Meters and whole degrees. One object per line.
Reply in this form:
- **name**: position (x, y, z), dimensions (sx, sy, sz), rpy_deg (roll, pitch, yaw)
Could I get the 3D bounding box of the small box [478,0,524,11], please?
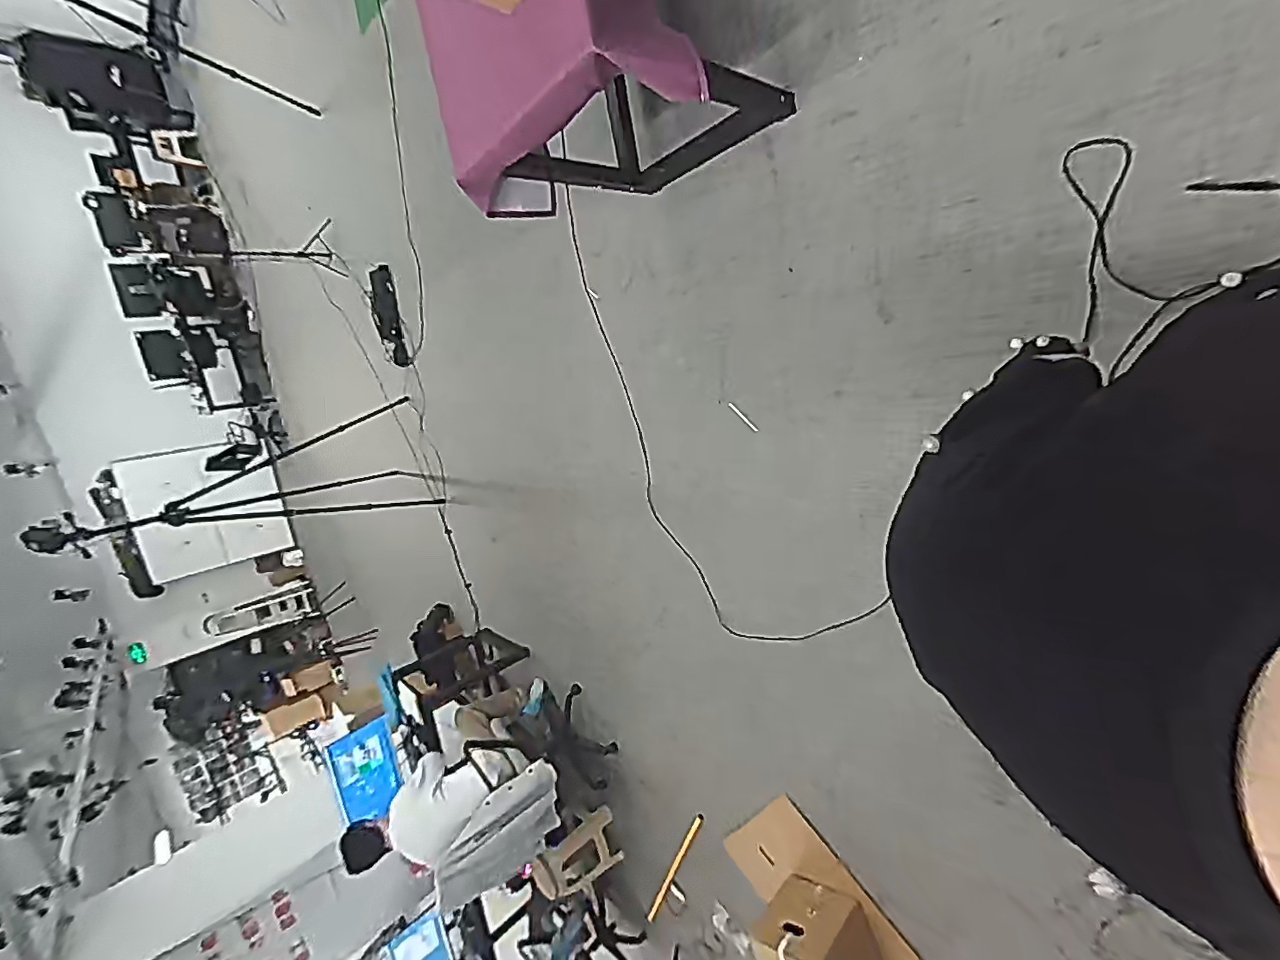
- **small box**: position (-0.275, -1.026, 0.996), dimensions (0.179, 0.176, 0.168), rpy_deg (1, 104, 48)
